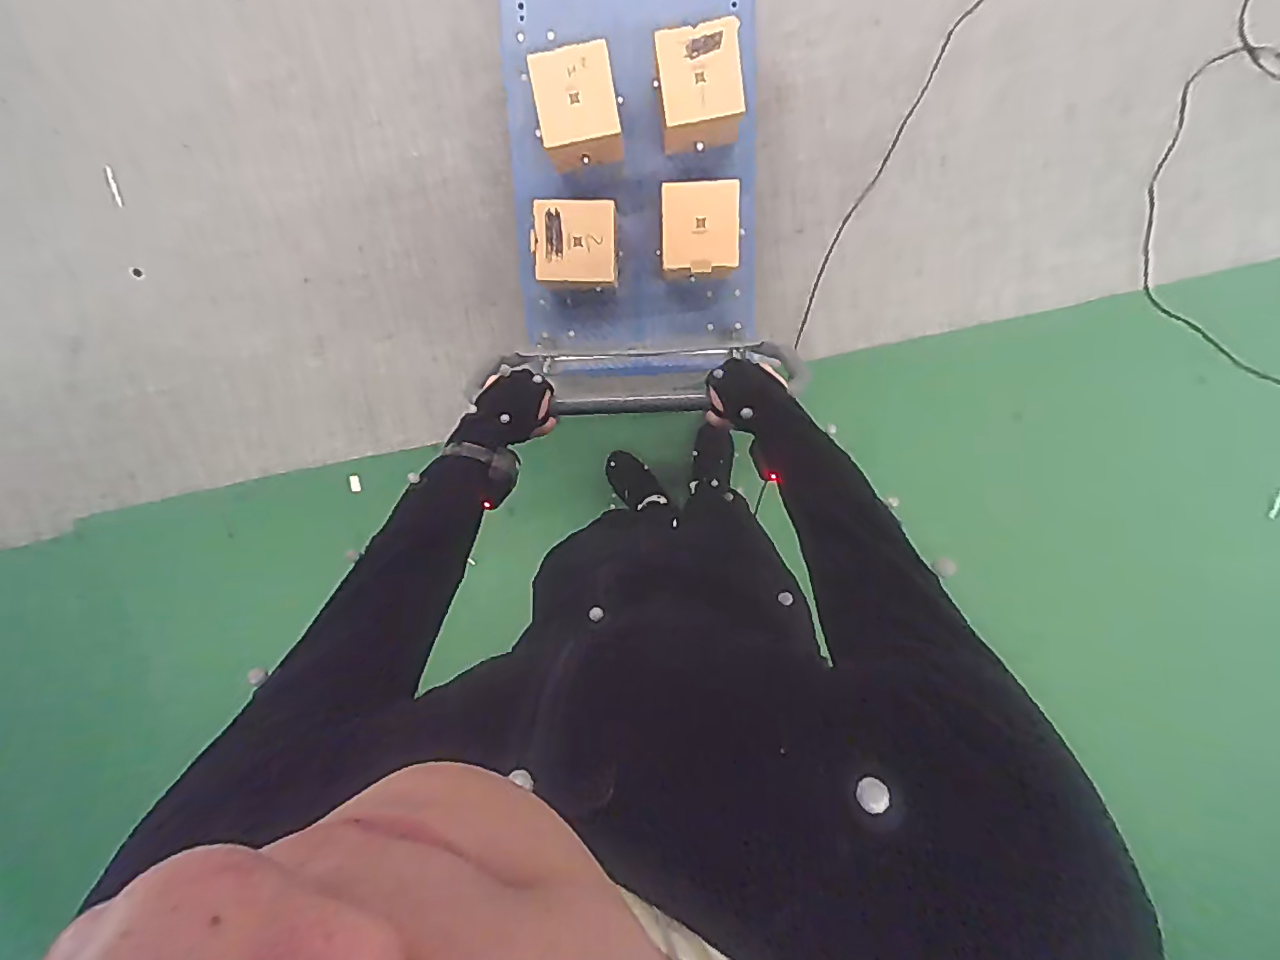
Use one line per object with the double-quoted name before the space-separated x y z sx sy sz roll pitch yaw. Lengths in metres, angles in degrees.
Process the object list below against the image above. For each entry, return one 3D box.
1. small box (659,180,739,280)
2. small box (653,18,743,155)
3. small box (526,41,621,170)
"small box" 0.130 -0.563 1.236 0.168 0.176 0.179 -2 103 2
"small box" 0.120 -0.842 1.172 0.168 0.176 0.179 -9 103 4
"small box" -0.137 -0.805 1.185 0.168 0.176 0.179 -10 102 2
